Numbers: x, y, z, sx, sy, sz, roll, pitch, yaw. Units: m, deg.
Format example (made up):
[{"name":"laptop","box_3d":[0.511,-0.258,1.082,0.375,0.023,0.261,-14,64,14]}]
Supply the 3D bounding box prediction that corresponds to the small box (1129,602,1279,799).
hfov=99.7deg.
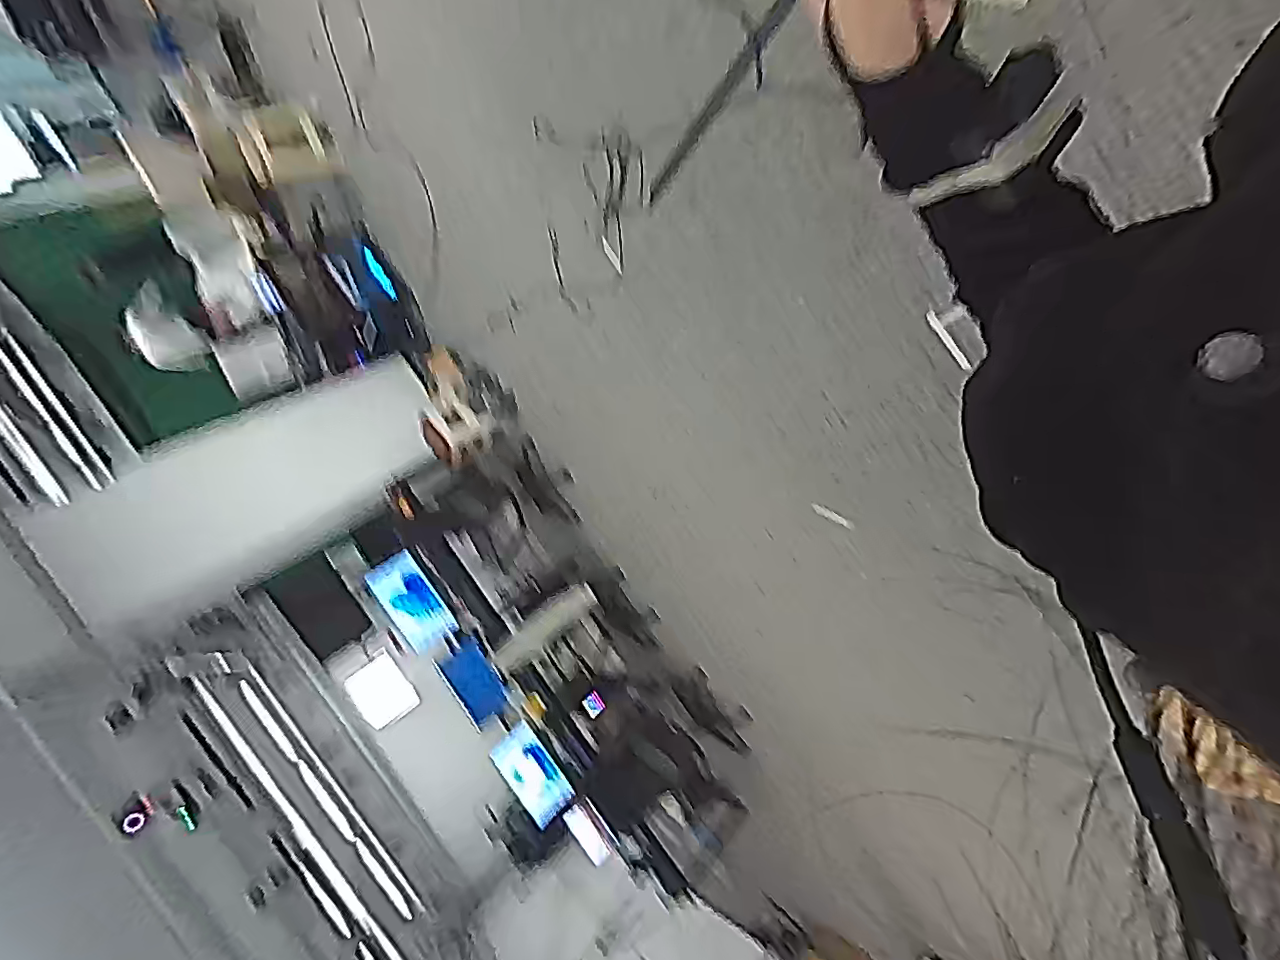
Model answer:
[{"name":"small box","box_3d":[0.788,0.279,0.694,0.179,0.176,0.168,55,149,-2]}]
